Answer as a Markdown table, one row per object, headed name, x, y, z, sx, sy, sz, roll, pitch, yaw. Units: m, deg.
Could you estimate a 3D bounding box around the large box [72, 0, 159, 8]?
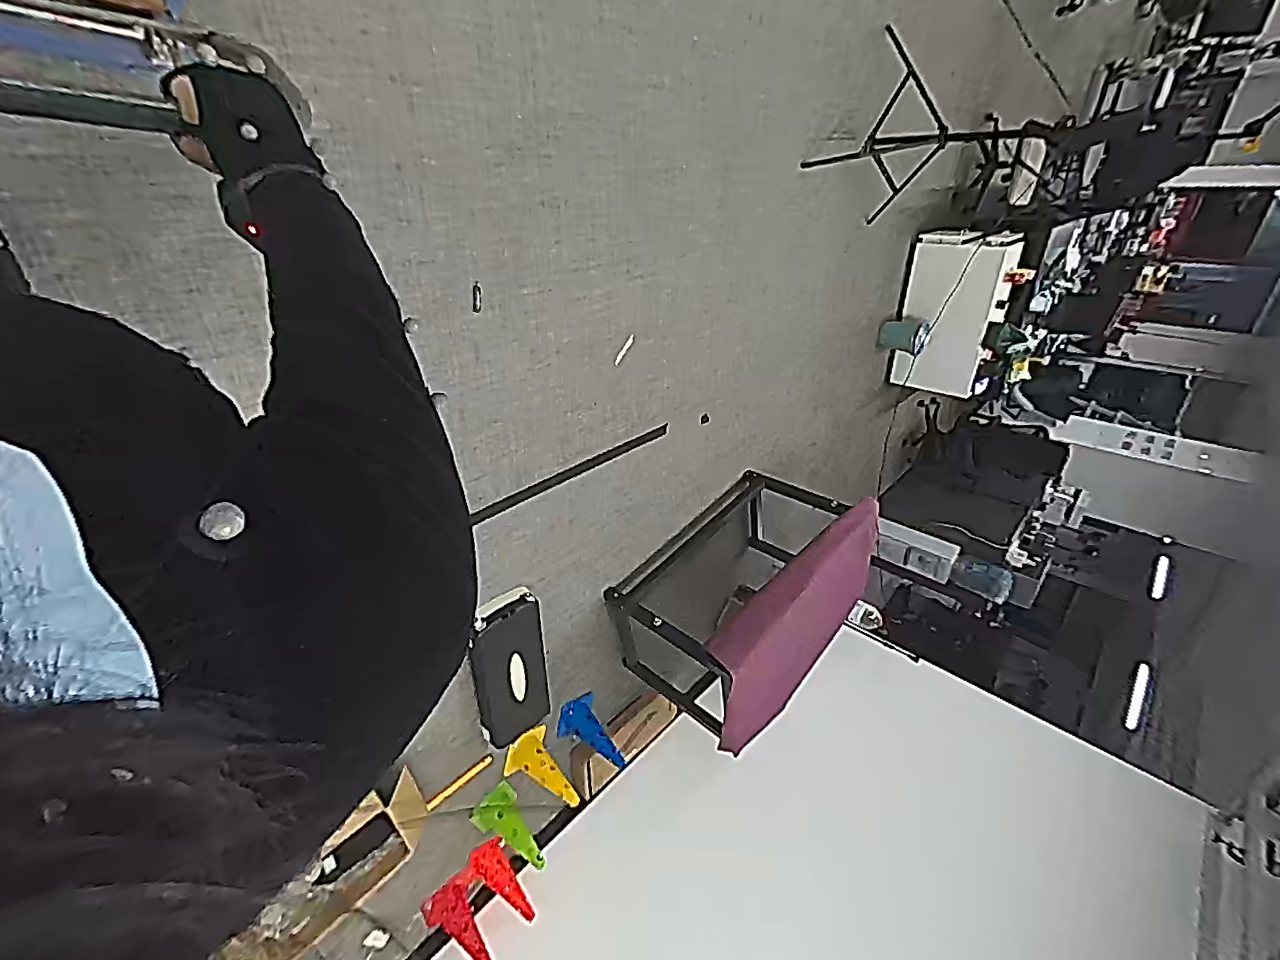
| name | x | y | z | sx | sy | sz | roll | pitch | yaw |
| --- | --- | --- | --- | --- | --- | --- | --- | --- | --- |
| large box | -0.833 | -0.745 | 0.562 | 0.408 | 0.320 | 0.320 | -23 | 135 | -43 |
